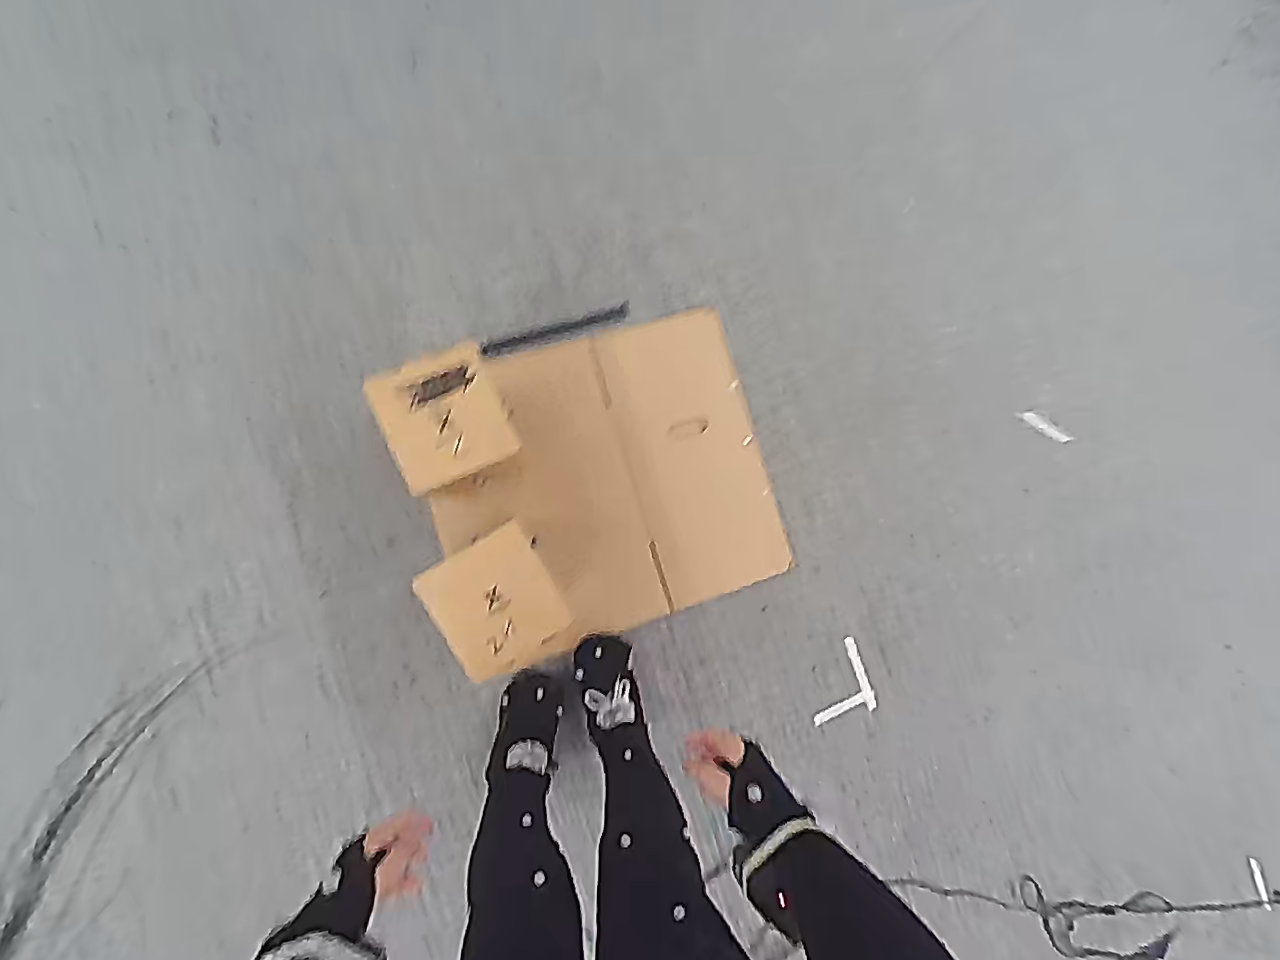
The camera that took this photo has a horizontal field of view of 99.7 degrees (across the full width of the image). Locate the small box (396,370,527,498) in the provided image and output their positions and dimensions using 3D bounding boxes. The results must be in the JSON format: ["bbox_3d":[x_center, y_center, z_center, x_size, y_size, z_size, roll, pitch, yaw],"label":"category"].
[{"bbox_3d":[-0.323,-0.076,1.011,0.168,0.176,0.179,-28,92,-11],"label":"small box"}]

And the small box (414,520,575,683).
[{"bbox_3d":[-0.218,0.177,0.843,0.168,0.176,0.179,-32,92,-10],"label":"small box"}]
